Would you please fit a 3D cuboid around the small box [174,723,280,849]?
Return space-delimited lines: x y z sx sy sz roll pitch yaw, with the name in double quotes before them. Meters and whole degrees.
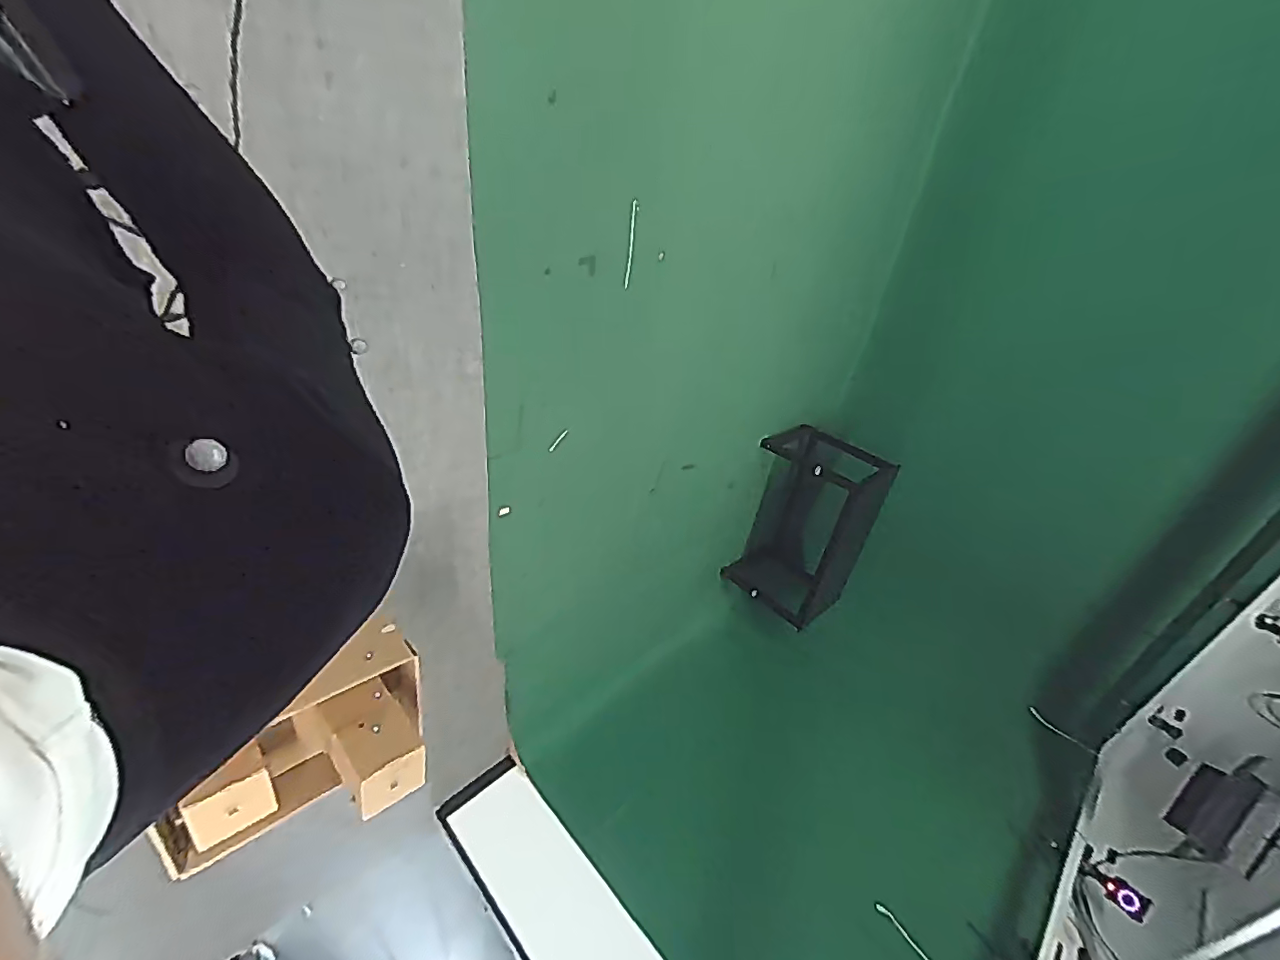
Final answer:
"small box" -1.017 0.744 1.333 0.168 0.176 0.179 -18 130 -41

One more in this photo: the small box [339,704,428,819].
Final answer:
"small box" -0.683 0.741 1.439 0.168 0.176 0.179 -17 130 -43
